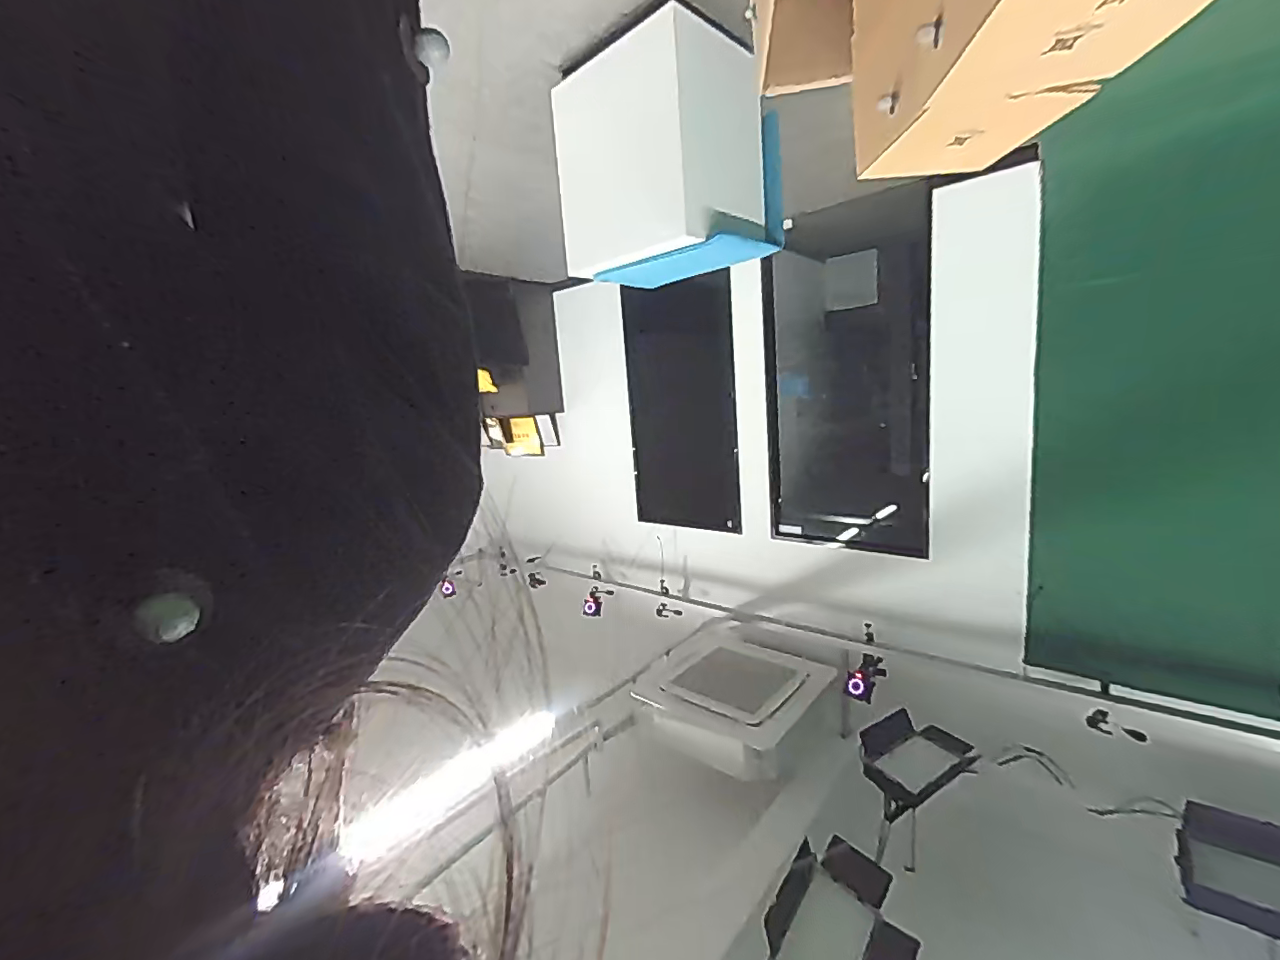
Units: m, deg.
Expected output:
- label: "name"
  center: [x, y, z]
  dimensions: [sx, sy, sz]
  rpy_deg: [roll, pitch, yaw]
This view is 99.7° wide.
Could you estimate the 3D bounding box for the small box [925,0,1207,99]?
- label: "small box"
  center: [0.329, -0.429, 0.400]
  dimensions: [0.168, 0.176, 0.179]
  rpy_deg: [-5, -171, 10]
